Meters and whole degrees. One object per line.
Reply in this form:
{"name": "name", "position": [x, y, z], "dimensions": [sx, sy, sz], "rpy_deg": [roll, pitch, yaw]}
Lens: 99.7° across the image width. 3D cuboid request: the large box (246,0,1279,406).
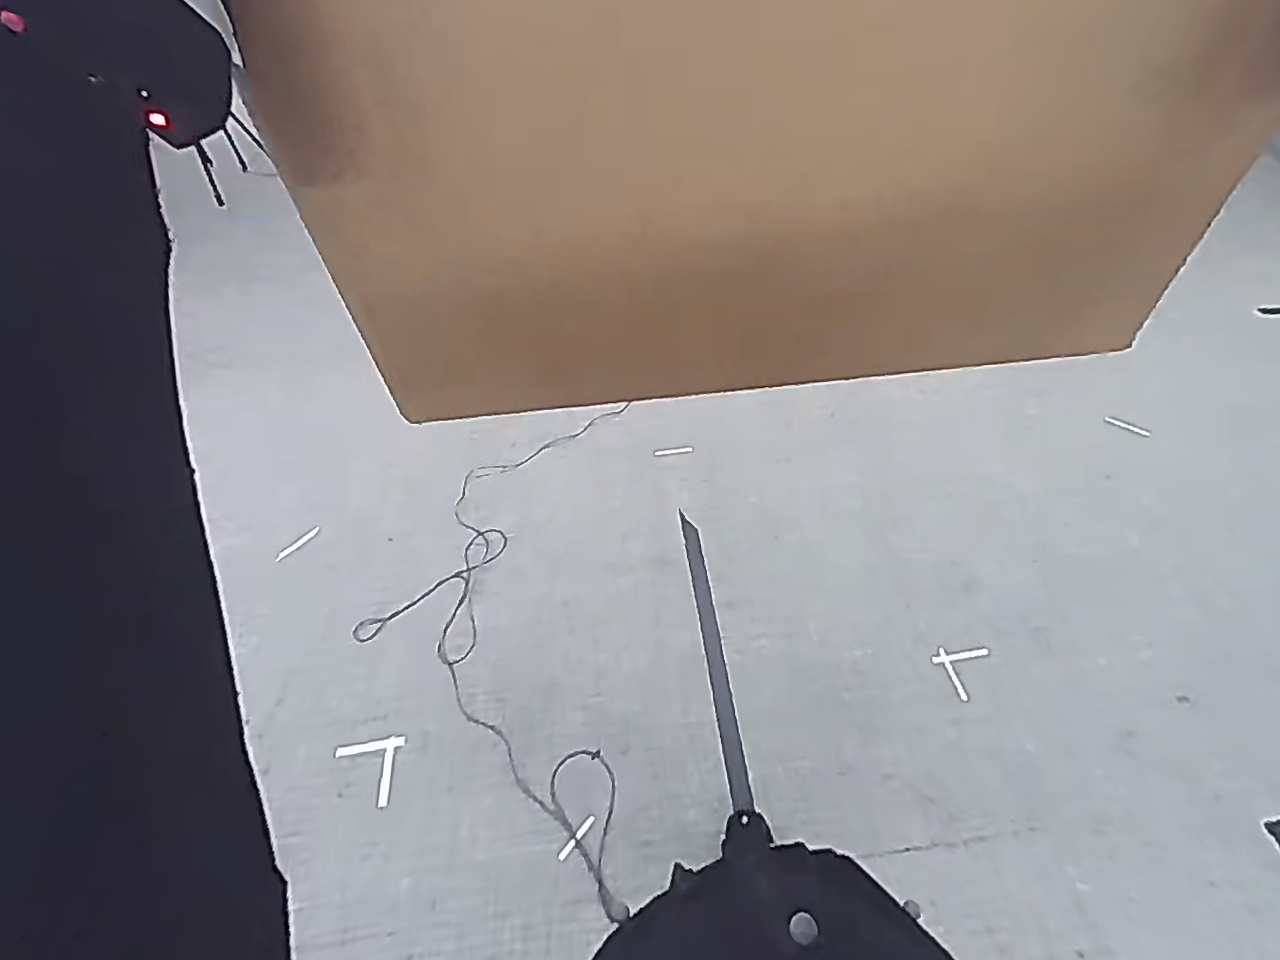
{"name": "large box", "position": [0.046, -0.271, 0.312], "dimensions": [0.408, 0.320, 0.320], "rpy_deg": [-6, 47, -1]}
